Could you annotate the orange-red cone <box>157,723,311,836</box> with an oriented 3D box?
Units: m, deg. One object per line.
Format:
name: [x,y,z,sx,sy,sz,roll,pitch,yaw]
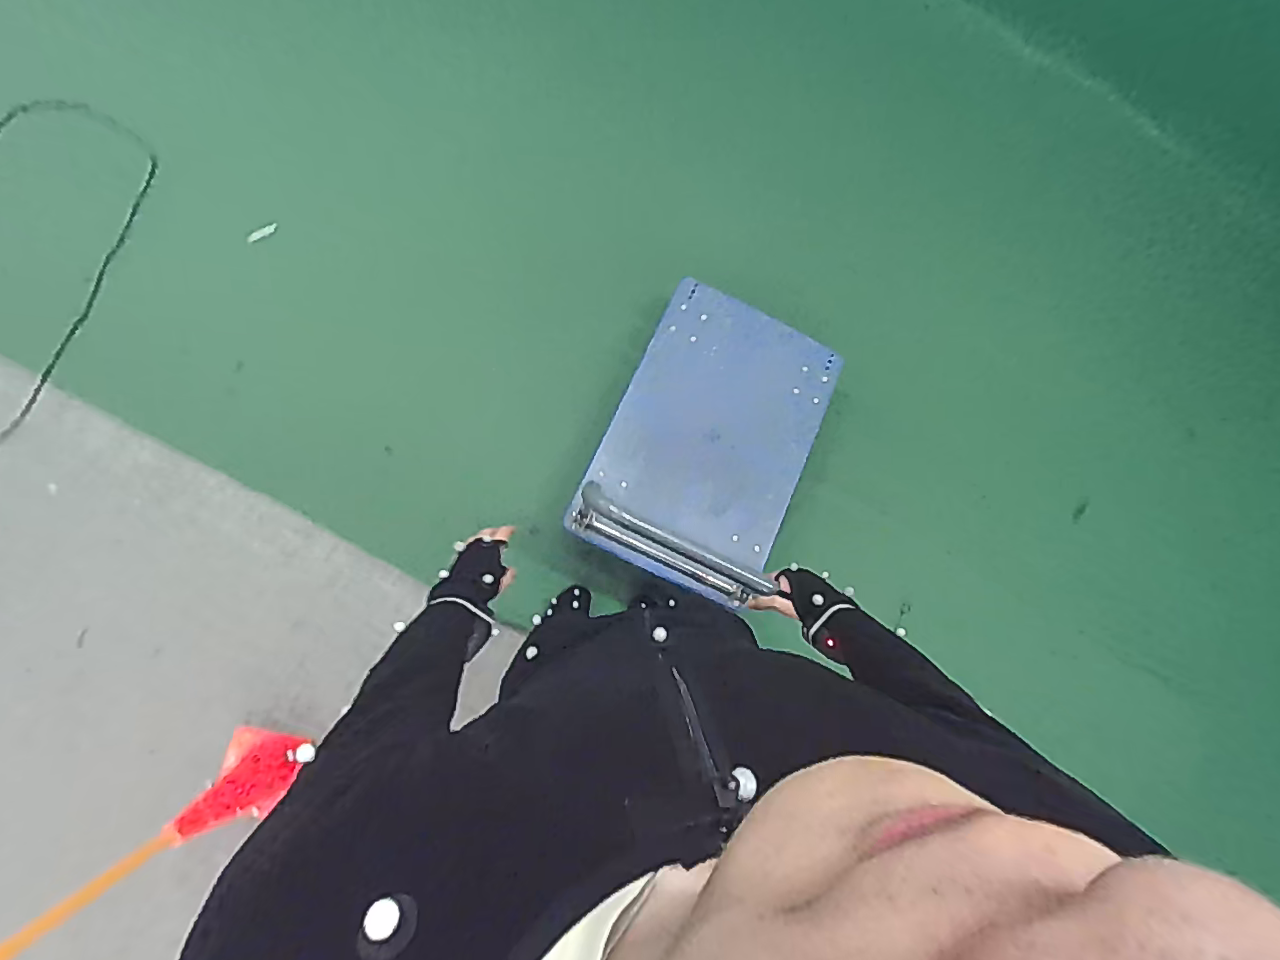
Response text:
orange-red cone: [-0.961,0.719,1.240,0.199,0.360,0.198,15,78,-4]
